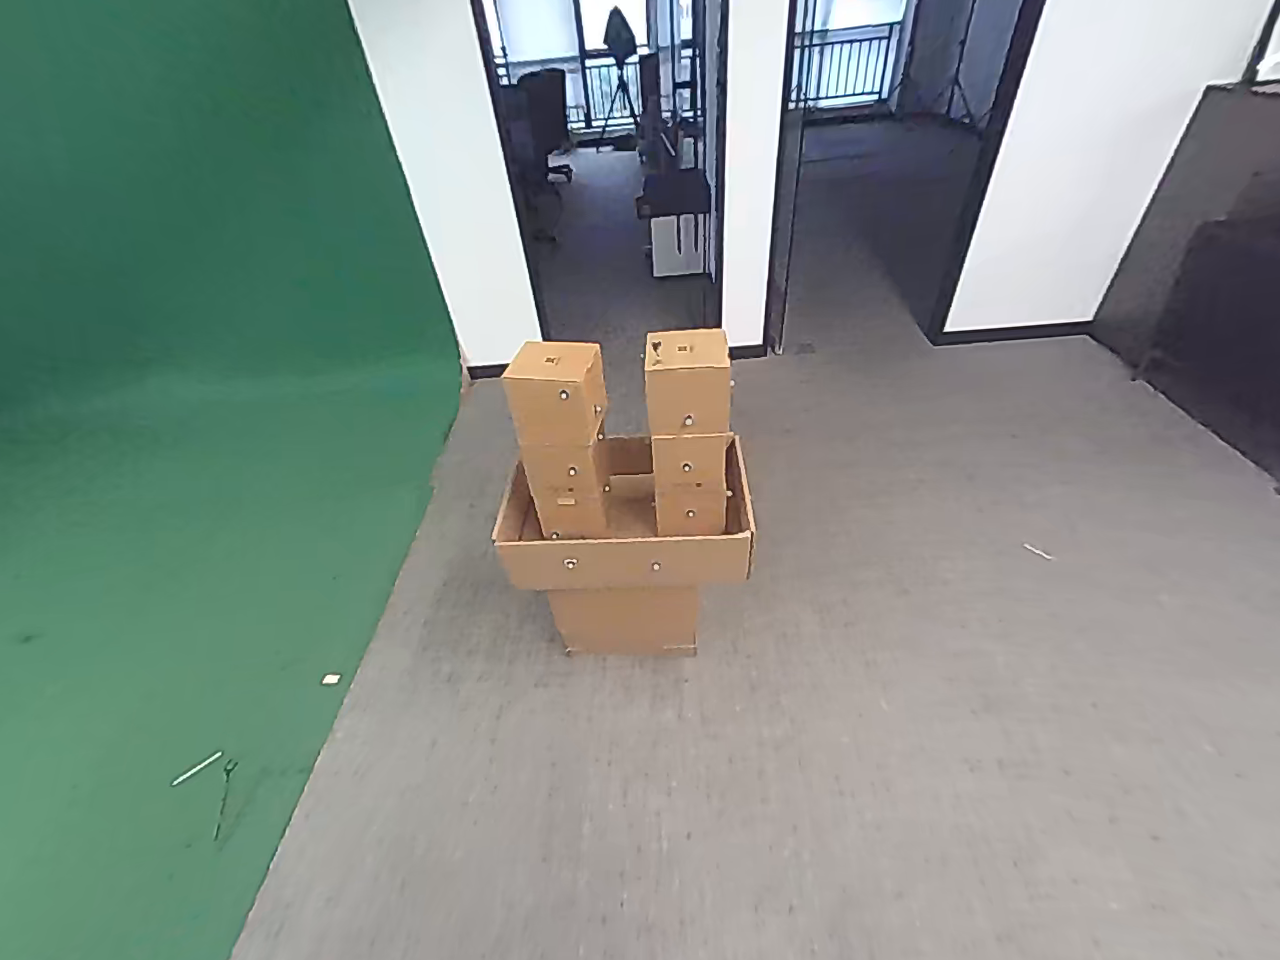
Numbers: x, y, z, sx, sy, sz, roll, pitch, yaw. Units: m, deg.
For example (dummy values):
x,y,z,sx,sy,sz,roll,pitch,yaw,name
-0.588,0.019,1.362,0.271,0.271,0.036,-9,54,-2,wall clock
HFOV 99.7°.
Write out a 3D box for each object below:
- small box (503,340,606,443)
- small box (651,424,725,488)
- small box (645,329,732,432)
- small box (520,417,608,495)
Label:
x,y,z,sx,sy,sz,roll,pitch,yaw,name
-0.183,-0.198,1.214,0.179,0.176,0.168,5,42,9,small box
0.117,-0.093,1.302,0.168,0.176,0.179,-2,41,5,small box
0.106,-0.218,1.195,0.179,0.176,0.168,-1,41,5,small box
-0.177,-0.079,1.325,0.168,0.176,0.179,2,41,7,small box
